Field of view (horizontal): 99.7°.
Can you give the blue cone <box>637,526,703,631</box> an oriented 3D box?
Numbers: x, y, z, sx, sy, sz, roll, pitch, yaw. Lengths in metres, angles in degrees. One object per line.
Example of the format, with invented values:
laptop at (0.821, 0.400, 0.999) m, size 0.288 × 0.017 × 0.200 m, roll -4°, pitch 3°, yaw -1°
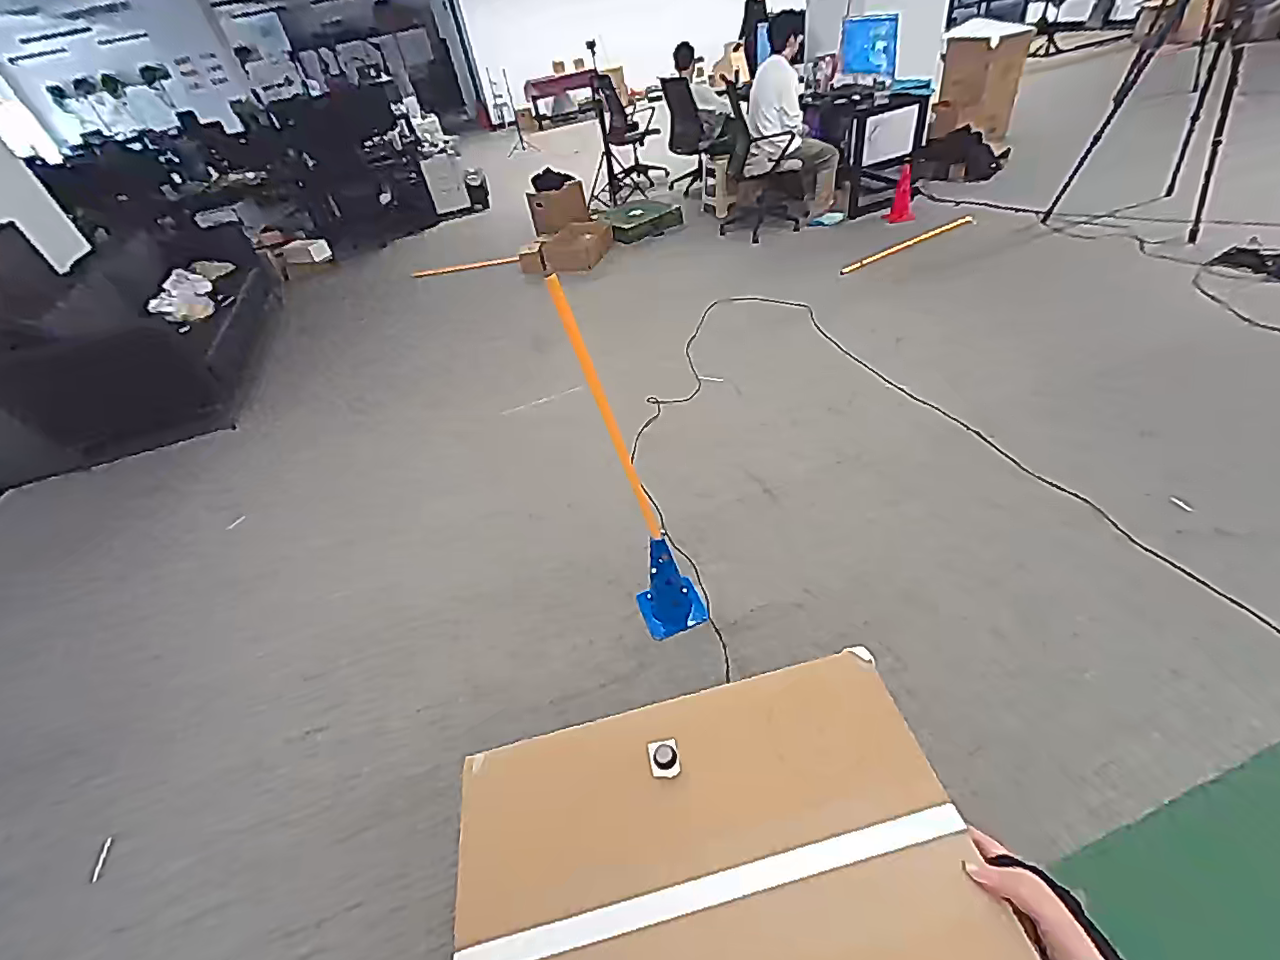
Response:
blue cone at (0.072, 0.287, 1.699) m, size 0.193 × 0.380 × 0.192 m, roll -23°, pitch 42°, yaw -10°
